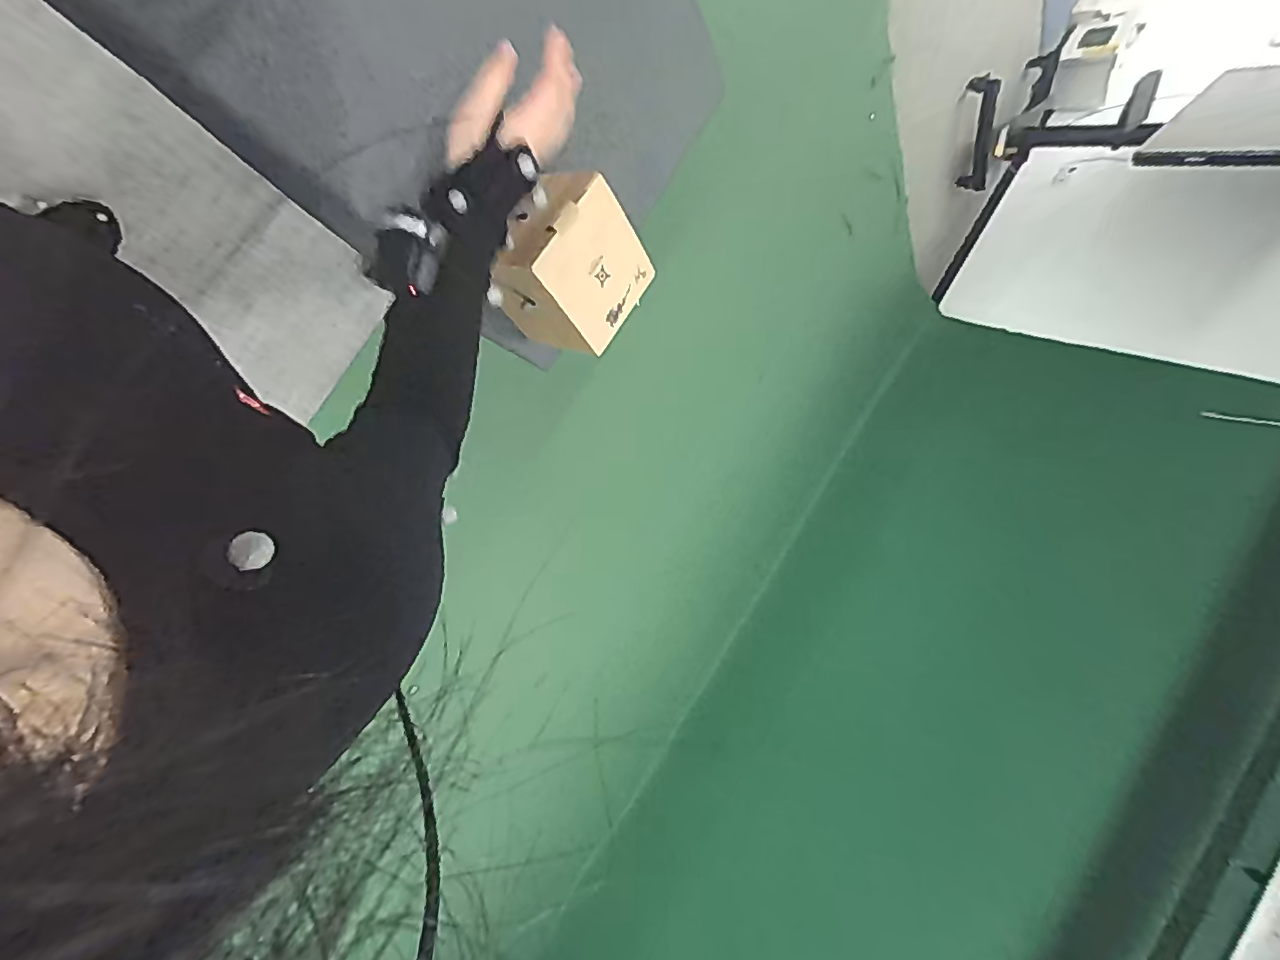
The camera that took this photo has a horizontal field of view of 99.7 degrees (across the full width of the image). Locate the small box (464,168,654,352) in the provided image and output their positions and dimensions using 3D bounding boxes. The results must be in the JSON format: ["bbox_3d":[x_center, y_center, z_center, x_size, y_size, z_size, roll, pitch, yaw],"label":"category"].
[{"bbox_3d":[-0.116,-0.312,0.780,0.168,0.176,0.179,-57,141,-11],"label":"small box"}]
